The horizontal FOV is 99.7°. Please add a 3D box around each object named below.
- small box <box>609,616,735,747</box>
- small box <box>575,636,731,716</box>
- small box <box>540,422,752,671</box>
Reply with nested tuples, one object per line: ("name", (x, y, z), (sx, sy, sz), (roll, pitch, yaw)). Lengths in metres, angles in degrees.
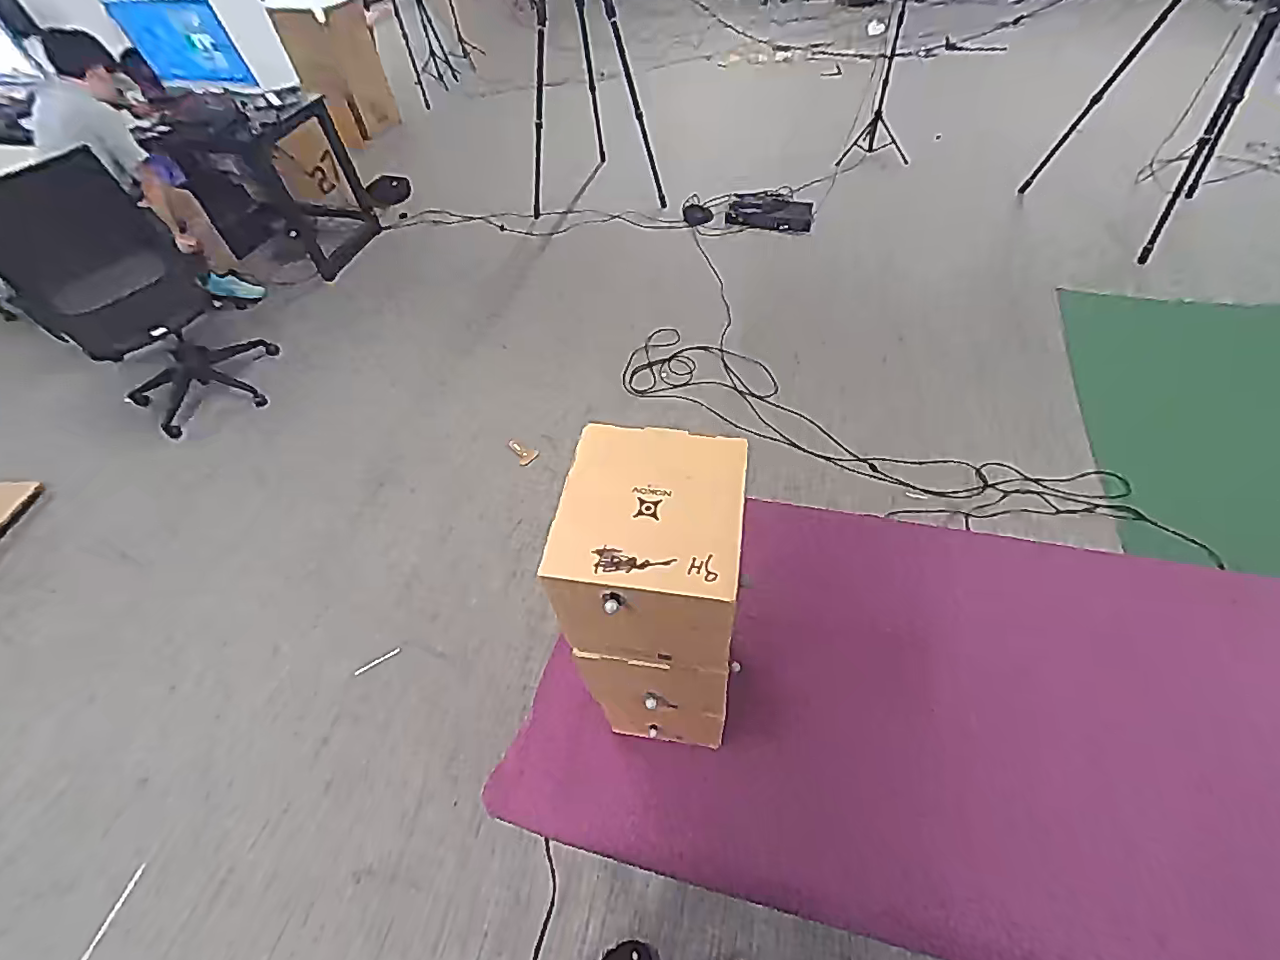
("small box", (0.047, 0.272, 0.798), (0.168, 0.176, 0.179), (5, 53, 9))
("small box", (0.028, 0.170, 0.671), (0.168, 0.176, 0.179), (4, 53, 9))
("small box", (0.017, 0.067, 0.543), (0.168, 0.176, 0.179), (6, 52, 10))
